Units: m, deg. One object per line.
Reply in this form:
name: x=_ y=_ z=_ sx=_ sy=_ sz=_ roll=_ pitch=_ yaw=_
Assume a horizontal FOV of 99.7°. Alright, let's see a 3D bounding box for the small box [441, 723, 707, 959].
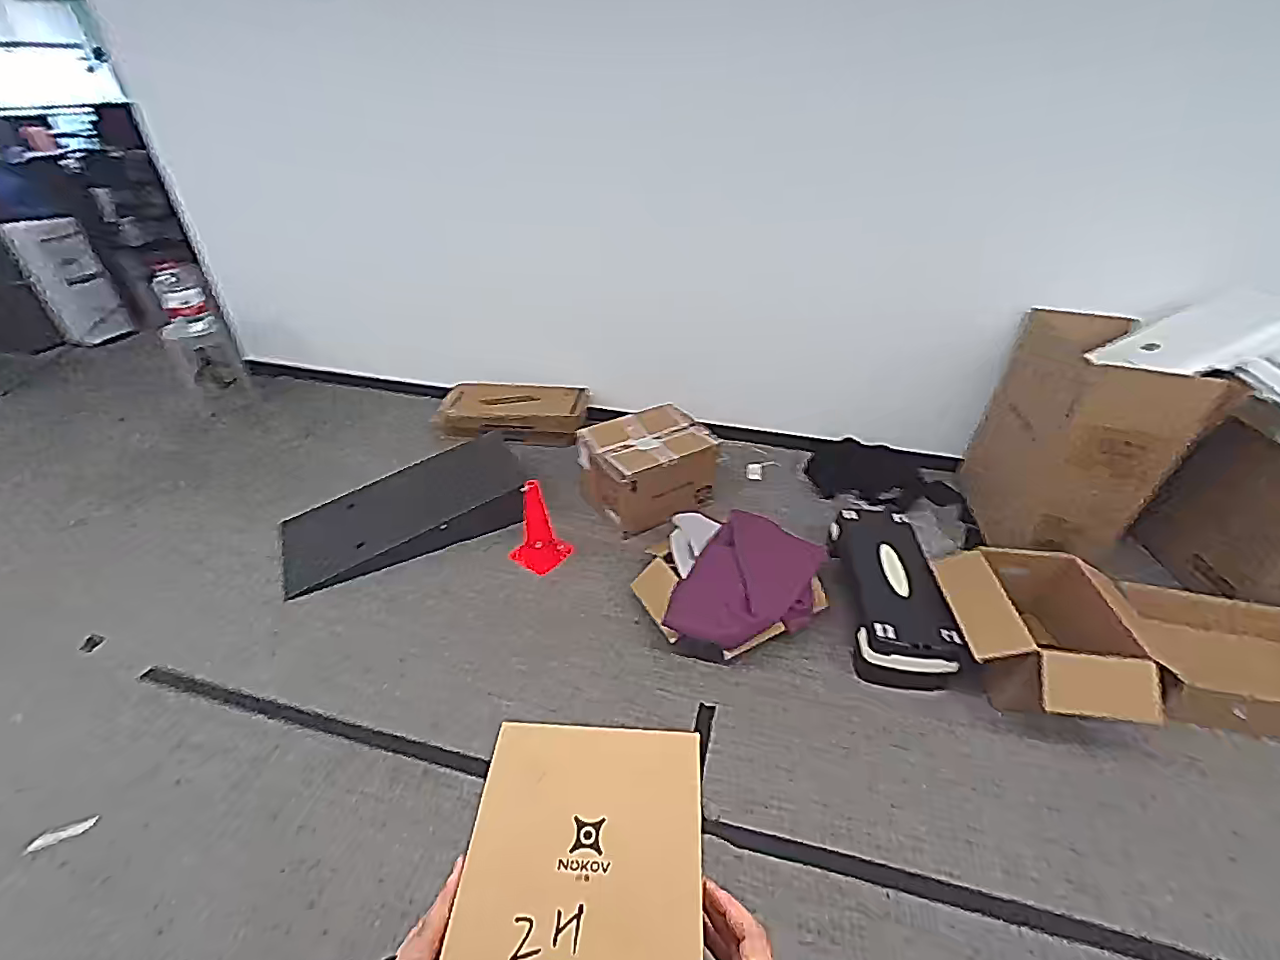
small box: x=-0.035 y=0.319 z=0.425 sx=0.168 sy=0.176 sz=0.179 roll=0 pitch=40 yaw=4
